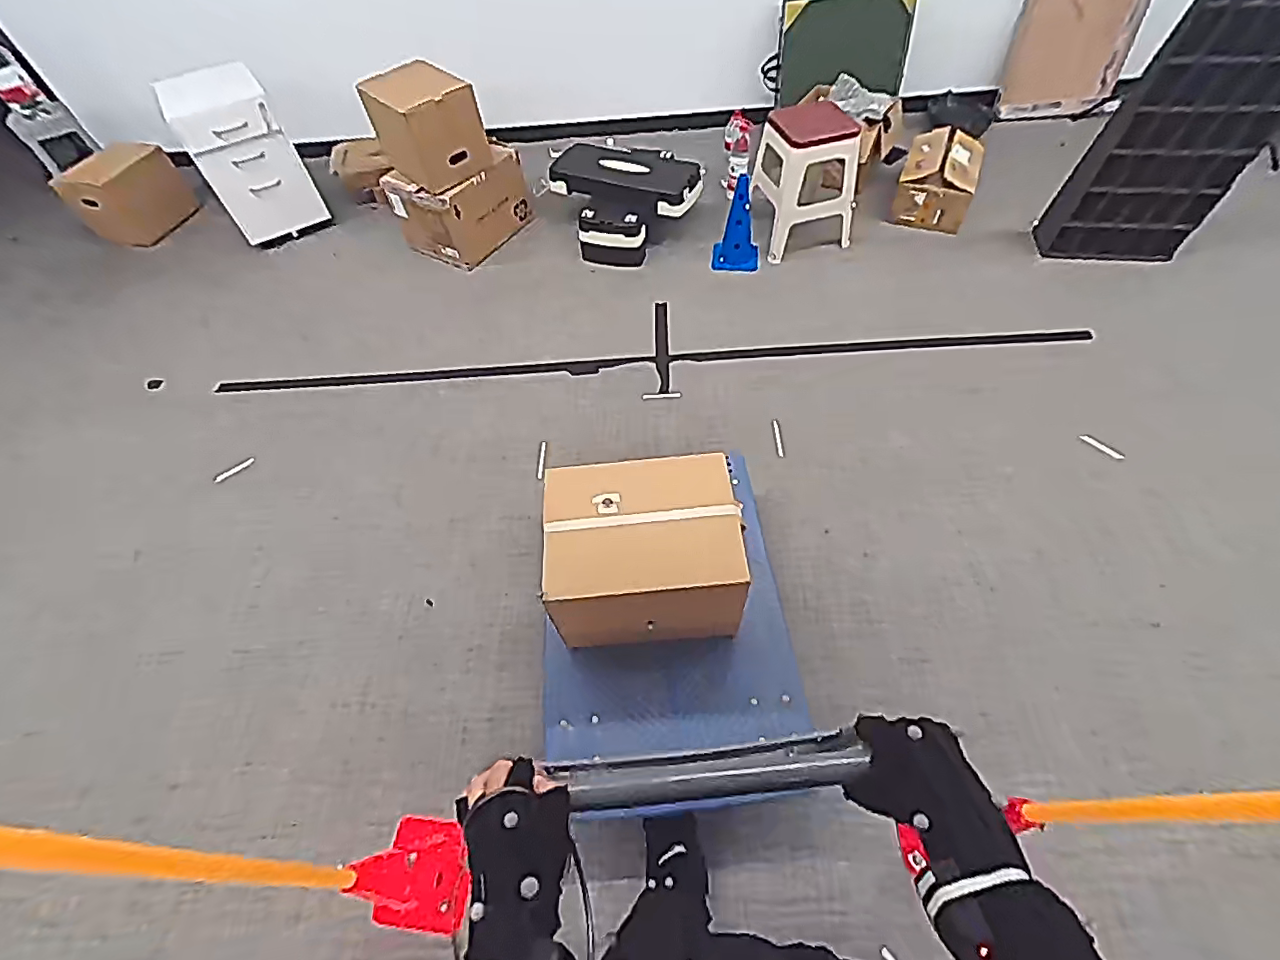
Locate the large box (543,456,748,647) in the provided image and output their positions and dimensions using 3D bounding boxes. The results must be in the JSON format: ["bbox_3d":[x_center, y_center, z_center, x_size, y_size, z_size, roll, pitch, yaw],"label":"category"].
[{"bbox_3d":[0.009,0.175,1.243,0.408,0.320,0.320,-6,56,1],"label":"large box"}]

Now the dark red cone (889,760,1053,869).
[{"bbox_3d":[0.654,0.628,1.036,0.201,0.394,0.202,-1,56,1],"label":"dark red cone"}]

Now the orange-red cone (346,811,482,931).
[{"bbox_3d":[-0.472,0.756,1.054,0.198,0.360,0.199,5,54,6],"label":"orange-red cone"}]
